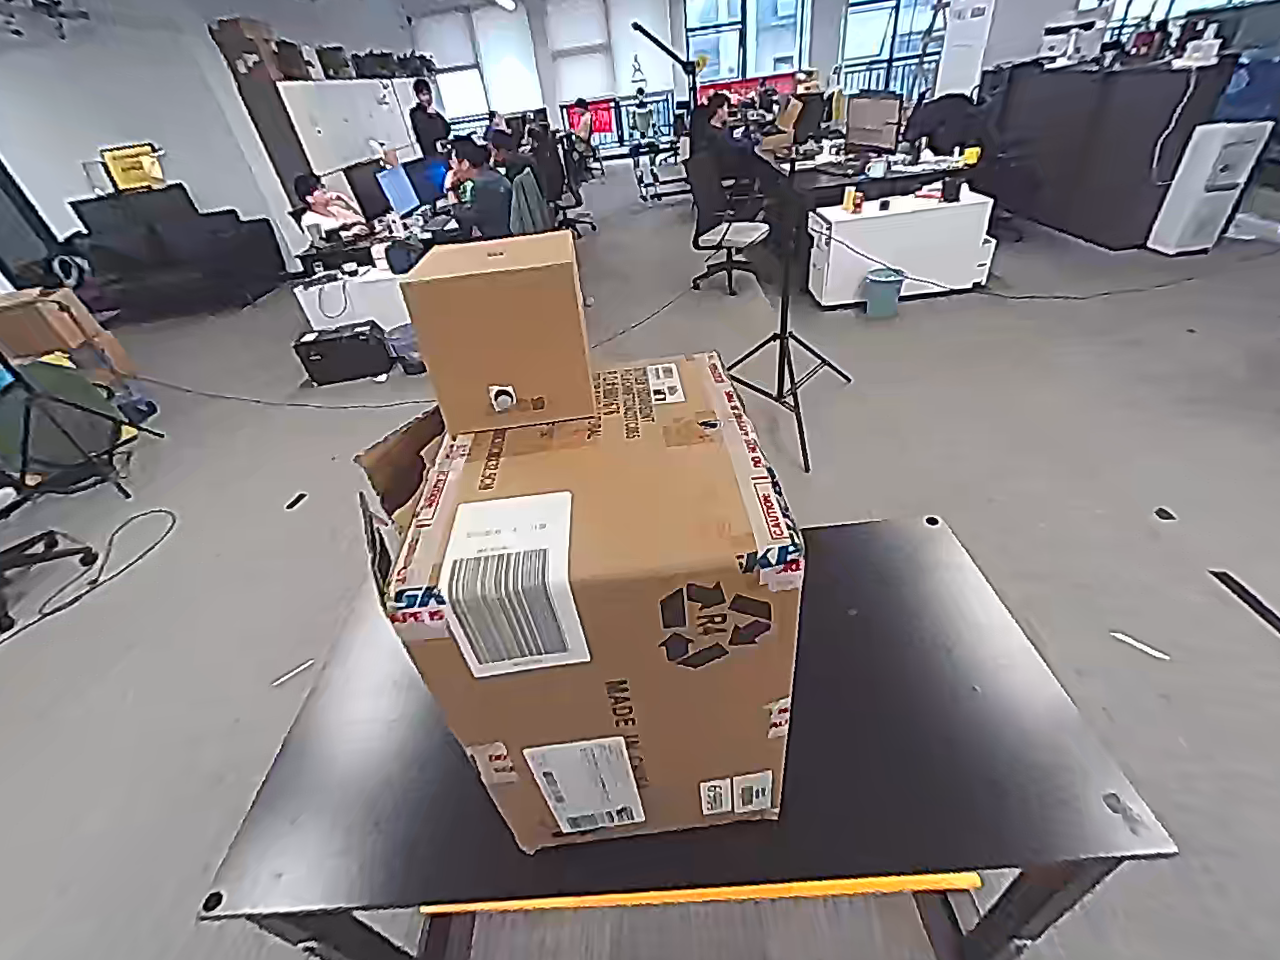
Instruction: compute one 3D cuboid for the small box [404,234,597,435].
[{"bbox_3d":[-0.145,-0.171,0.626,0.168,0.176,0.179,-9,35,-3],"label":"small box"}]
